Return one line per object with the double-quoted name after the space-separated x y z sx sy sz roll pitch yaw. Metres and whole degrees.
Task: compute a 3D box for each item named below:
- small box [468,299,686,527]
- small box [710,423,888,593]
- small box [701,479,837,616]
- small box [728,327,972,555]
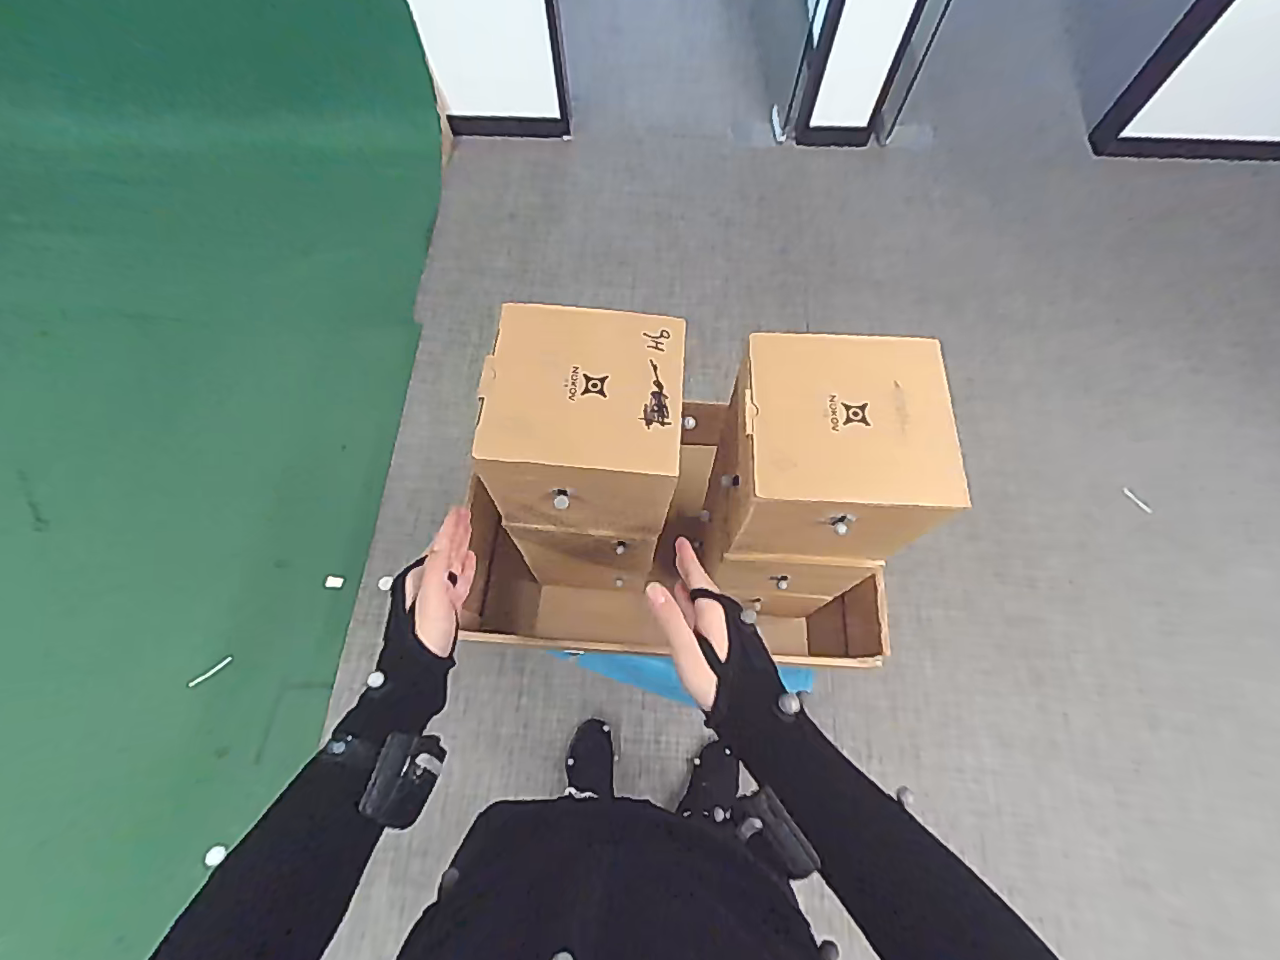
-0.051 -0.057 0.546 0.179 0.176 0.168 4 67 1 "small box"
0.184 0.042 0.677 0.179 0.176 0.168 2 66 3 "small box"
0.186 0.109 0.827 0.179 0.176 0.168 4 67 4 "small box"
0.182 -0.029 0.531 0.179 0.176 0.168 3 67 3 "small box"
